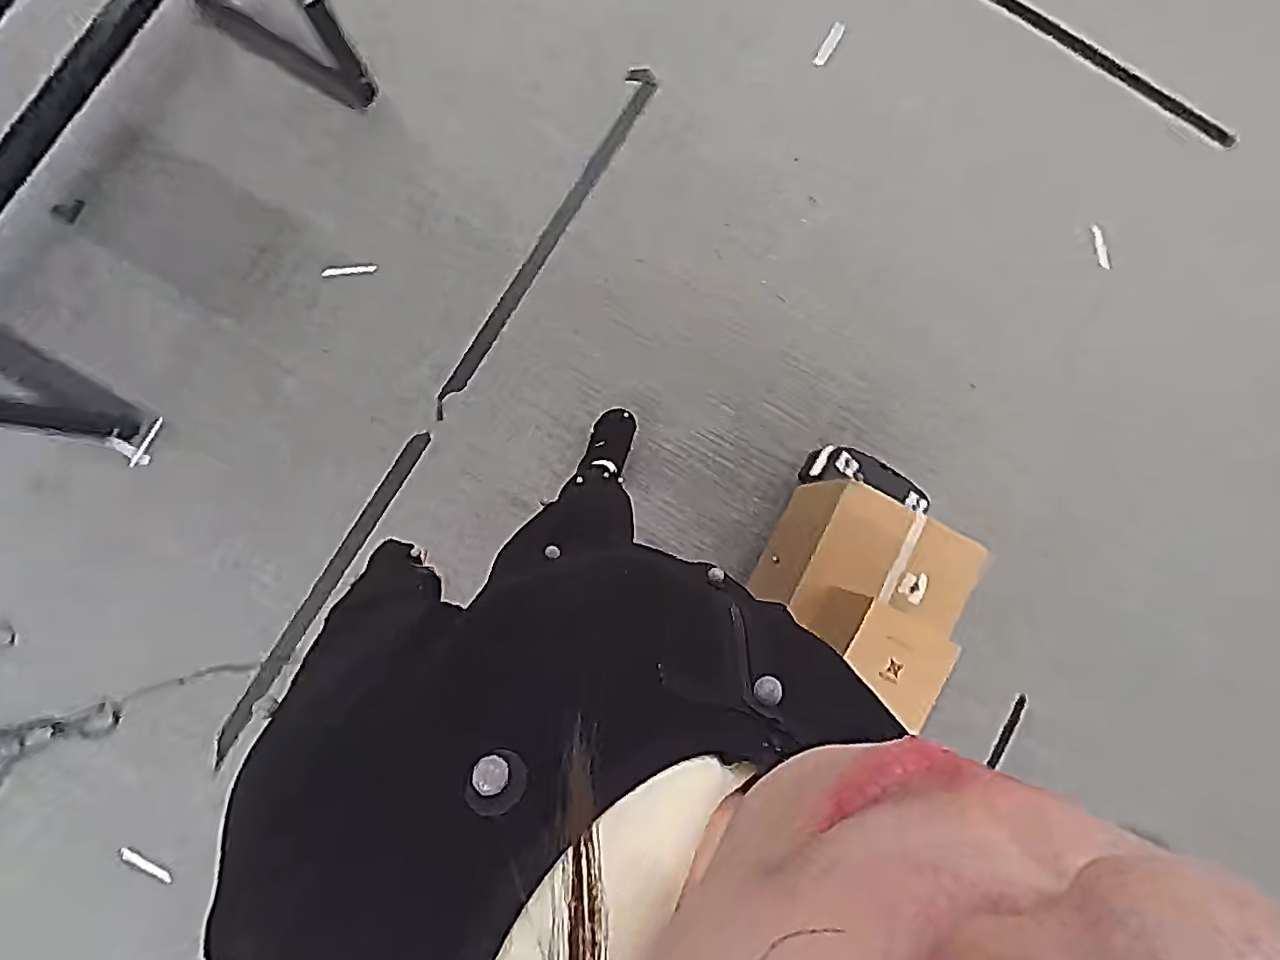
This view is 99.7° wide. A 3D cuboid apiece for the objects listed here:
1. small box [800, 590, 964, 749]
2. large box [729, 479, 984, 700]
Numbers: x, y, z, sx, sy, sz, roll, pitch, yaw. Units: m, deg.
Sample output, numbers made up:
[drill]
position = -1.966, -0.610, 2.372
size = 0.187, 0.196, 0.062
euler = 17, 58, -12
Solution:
[small box]
position = 0.397, 0.311, 0.925
size = 0.168, 0.176, 0.179
euler = 31, 85, 0
[large box]
position = 0.440, 0.254, 1.177
size = 0.320, 0.320, 0.408
euler = 28, 84, -2
